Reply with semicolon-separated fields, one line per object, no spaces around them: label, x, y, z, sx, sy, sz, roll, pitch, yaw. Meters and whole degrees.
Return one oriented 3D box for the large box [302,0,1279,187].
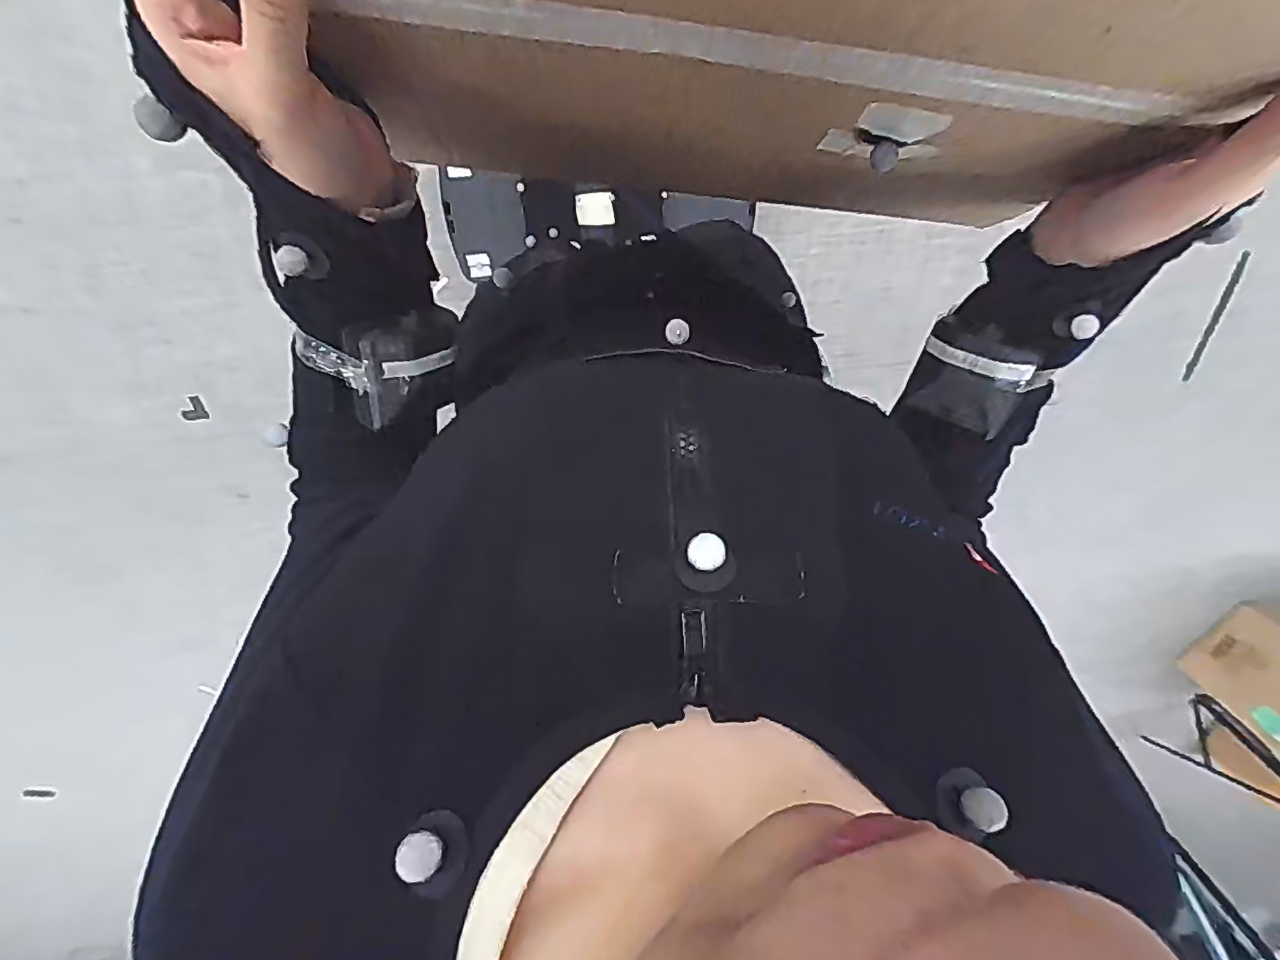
large box;0.077;-0.322;0.156;0.408;0.320;0.320;2;99;-7

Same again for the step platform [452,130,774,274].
step platform;-0.057;-0.627;1.200;0.684;0.204;0.286;-1;123;-6
